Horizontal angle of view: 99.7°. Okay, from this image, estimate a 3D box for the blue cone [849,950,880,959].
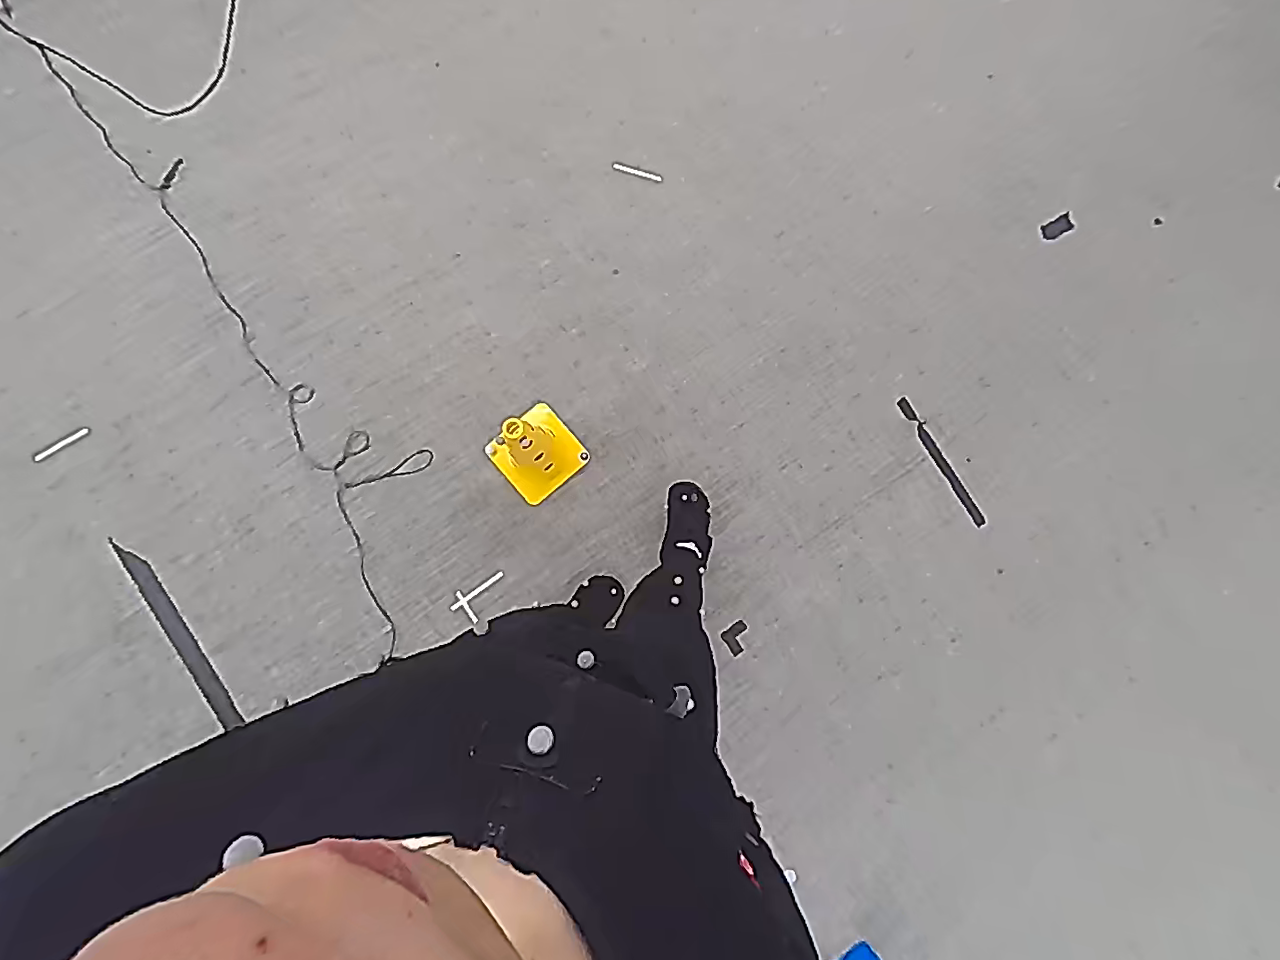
[{"bbox_3d":[0.543,1.240,1.134,0.192,0.380,0.193,-33,88,-7],"label":"blue cone"}]
